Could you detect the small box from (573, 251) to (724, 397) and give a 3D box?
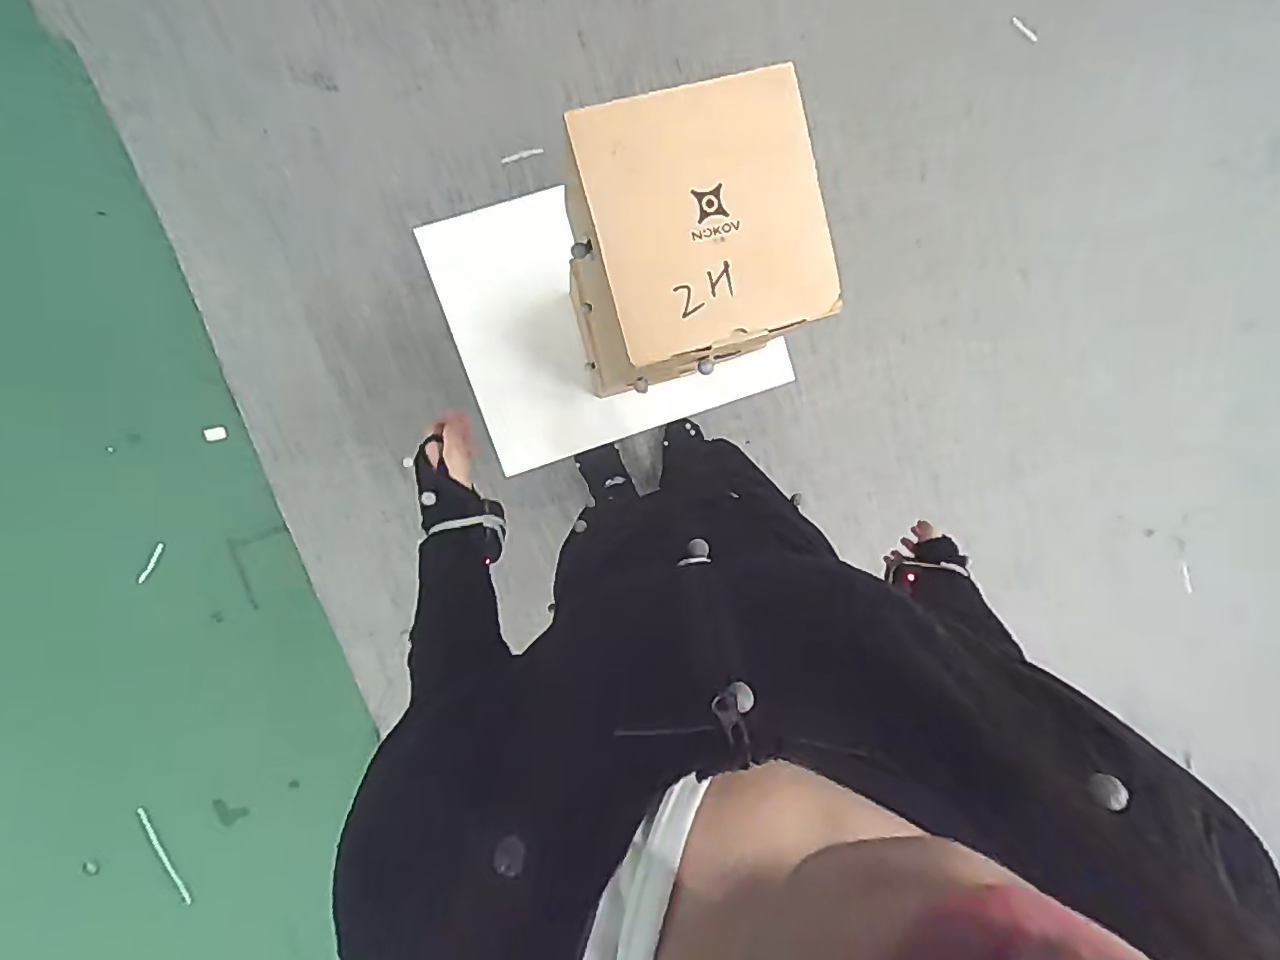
[{"bbox_3d":[0.002,-0.225,0.767,0.168,0.176,0.179,-15,97,-5],"label":"small box"}]

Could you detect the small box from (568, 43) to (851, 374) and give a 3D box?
[{"bbox_3d":[0.040,-0.196,0.442,0.168,0.176,0.179,-16,98,-5],"label":"small box"}]
